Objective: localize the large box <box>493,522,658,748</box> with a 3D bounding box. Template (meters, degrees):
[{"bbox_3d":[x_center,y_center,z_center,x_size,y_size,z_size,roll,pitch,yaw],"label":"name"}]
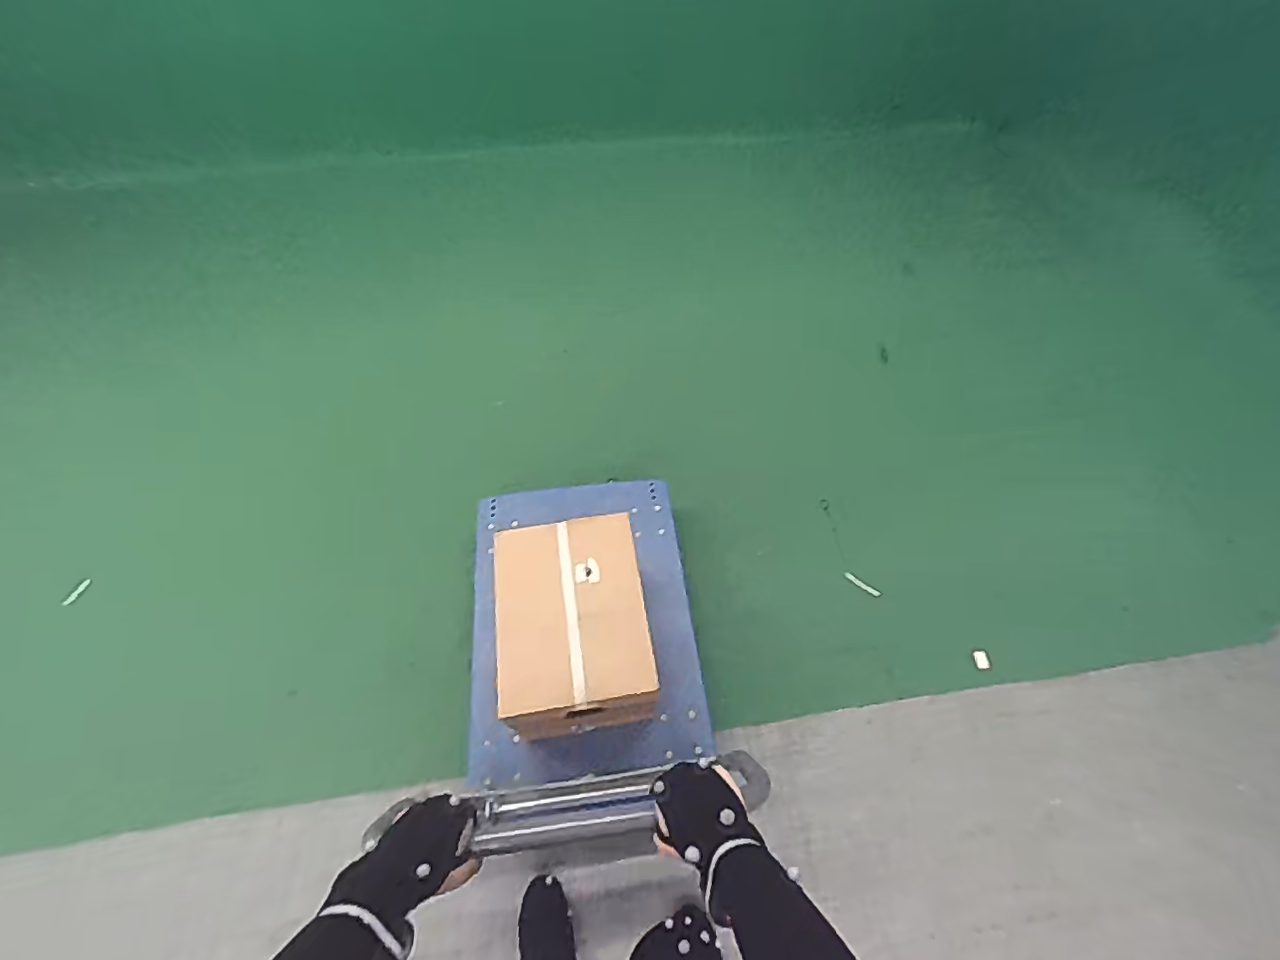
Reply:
[{"bbox_3d":[-0.148,0.367,1.273,0.320,0.320,0.408,-8,57,-6],"label":"large box"}]
